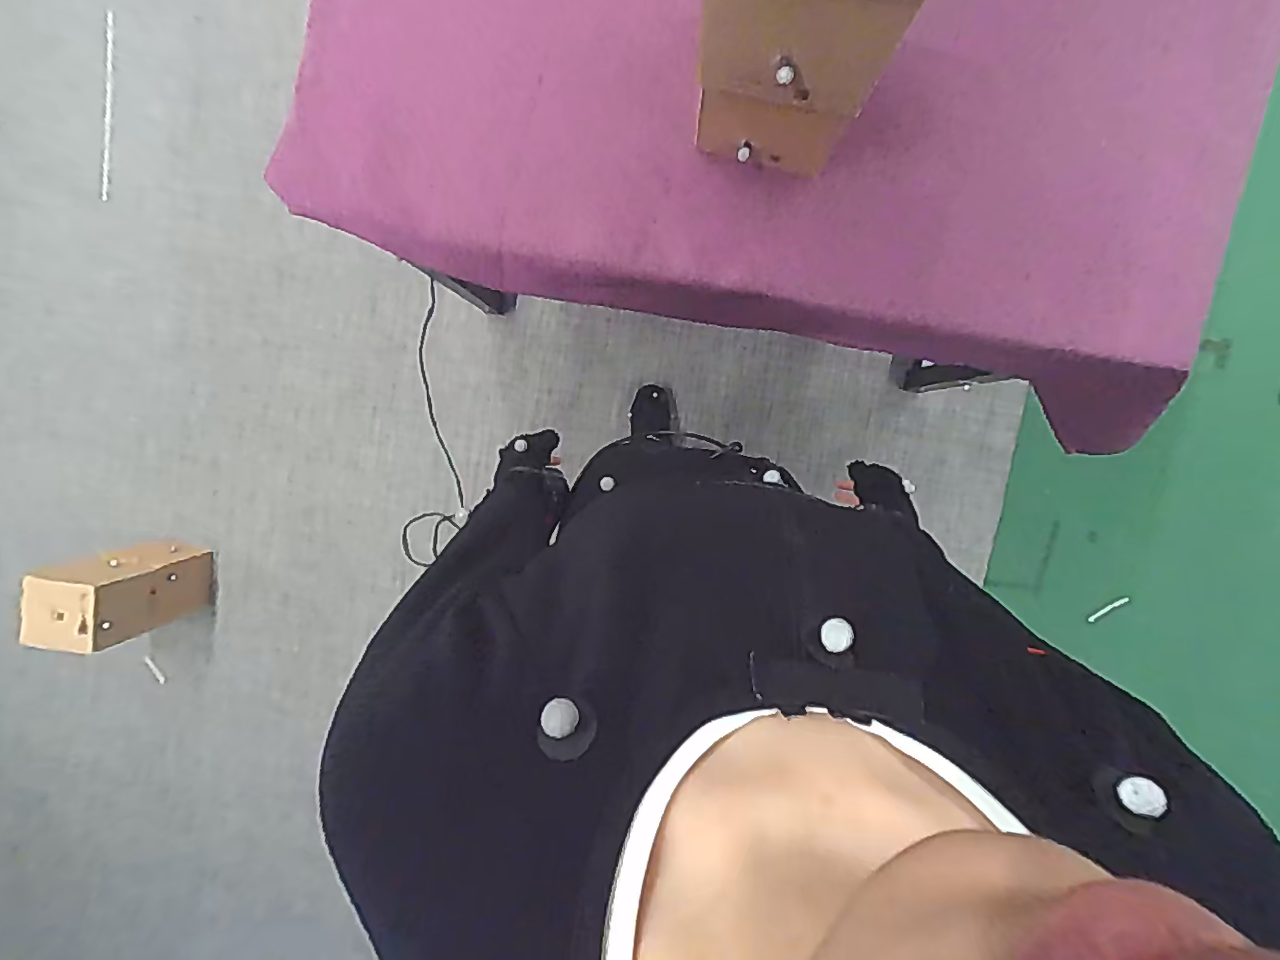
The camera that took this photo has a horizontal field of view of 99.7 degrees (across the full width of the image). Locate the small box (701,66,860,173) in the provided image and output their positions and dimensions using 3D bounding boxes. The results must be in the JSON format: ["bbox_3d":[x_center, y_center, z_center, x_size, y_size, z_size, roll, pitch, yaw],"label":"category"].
[{"bbox_3d":[0.169,-0.491,0.615,0.168,0.176,0.179,14,96,2],"label":"small box"}]

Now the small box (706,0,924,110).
[{"bbox_3d":[0.154,-0.462,0.454,0.168,0.176,0.179,13,96,3],"label":"small box"}]

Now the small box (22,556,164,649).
[{"bbox_3d":[-1.321,0.288,1.314,0.179,0.176,0.168,9,95,2],"label":"small box"}]

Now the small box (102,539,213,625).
[{"bbox_3d":[-1.315,0.273,1.478,0.168,0.176,0.179,9,95,1],"label":"small box"}]
